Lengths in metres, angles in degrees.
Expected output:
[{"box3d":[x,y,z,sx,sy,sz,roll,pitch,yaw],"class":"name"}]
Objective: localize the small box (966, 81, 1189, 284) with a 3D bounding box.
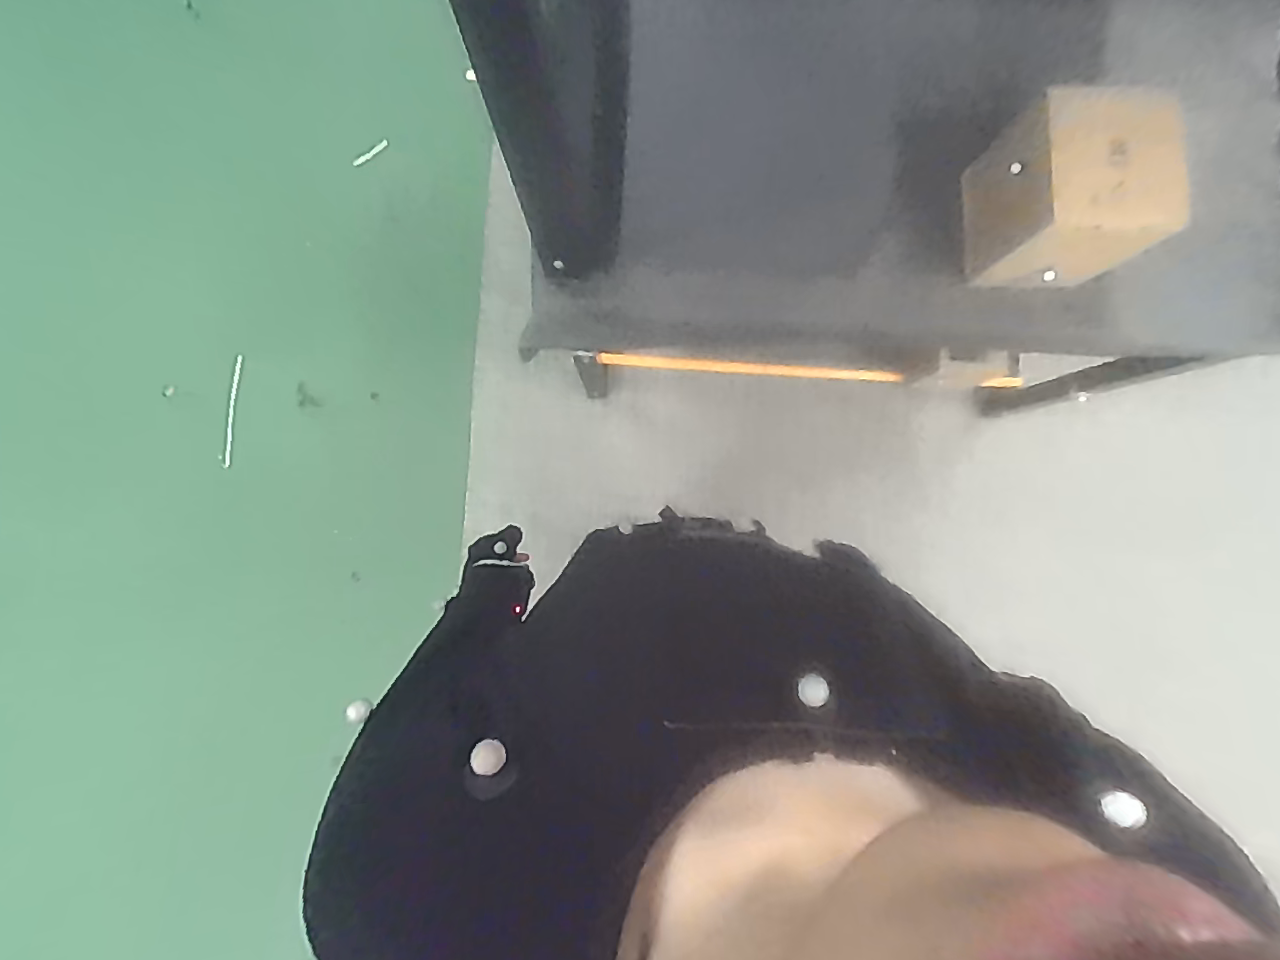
[{"box3d":[0.566,-0.386,0.724,0.168,0.176,0.179,1,85,-1],"class":"small box"}]
